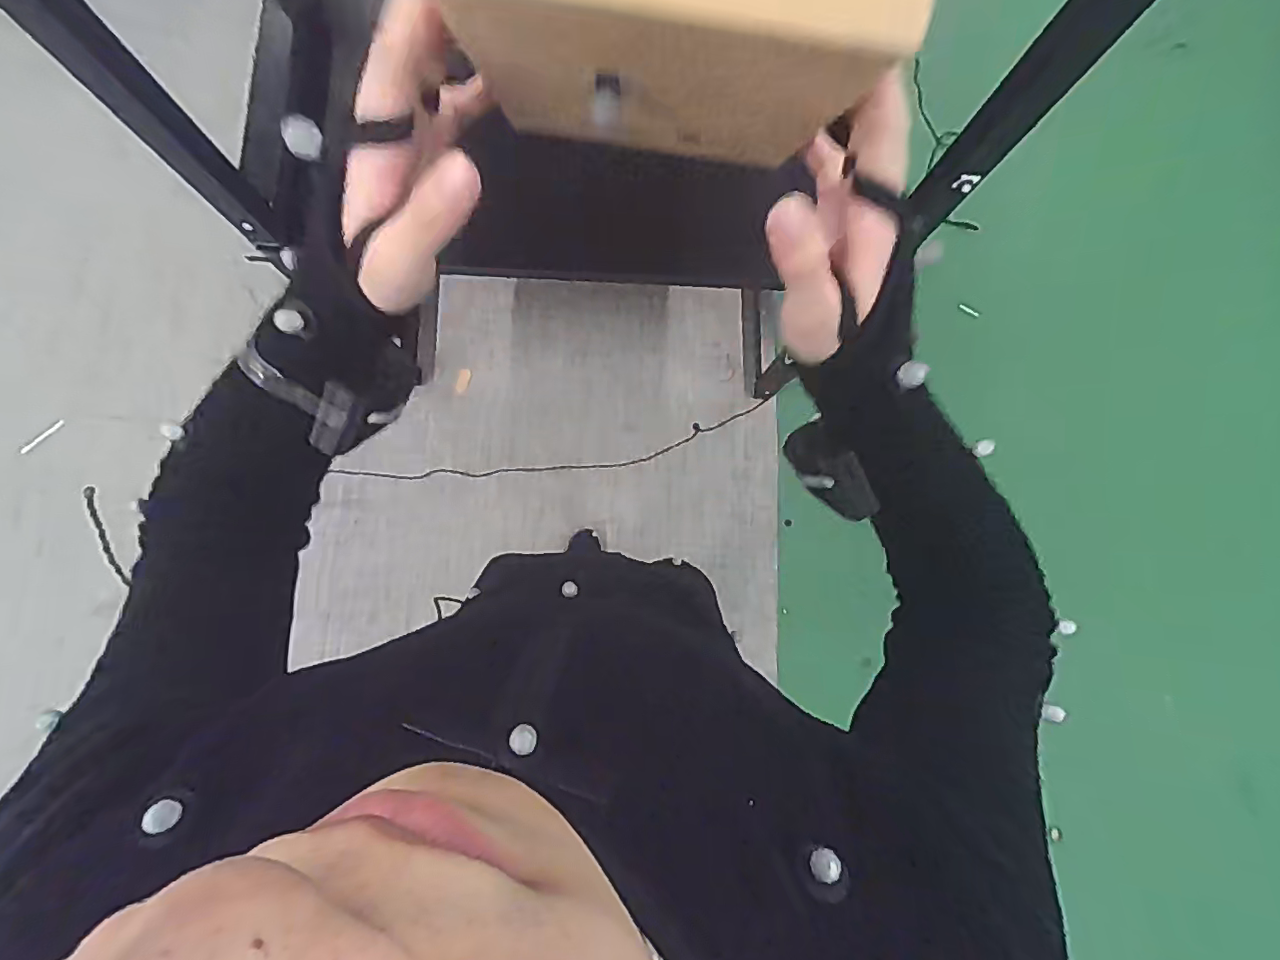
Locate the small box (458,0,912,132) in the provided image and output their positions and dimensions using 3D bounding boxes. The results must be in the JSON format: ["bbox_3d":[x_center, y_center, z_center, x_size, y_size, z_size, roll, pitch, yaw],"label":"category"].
[{"bbox_3d":[0.017,-0.262,0.210,0.168,0.176,0.179,6,108,-4],"label":"small box"}]
